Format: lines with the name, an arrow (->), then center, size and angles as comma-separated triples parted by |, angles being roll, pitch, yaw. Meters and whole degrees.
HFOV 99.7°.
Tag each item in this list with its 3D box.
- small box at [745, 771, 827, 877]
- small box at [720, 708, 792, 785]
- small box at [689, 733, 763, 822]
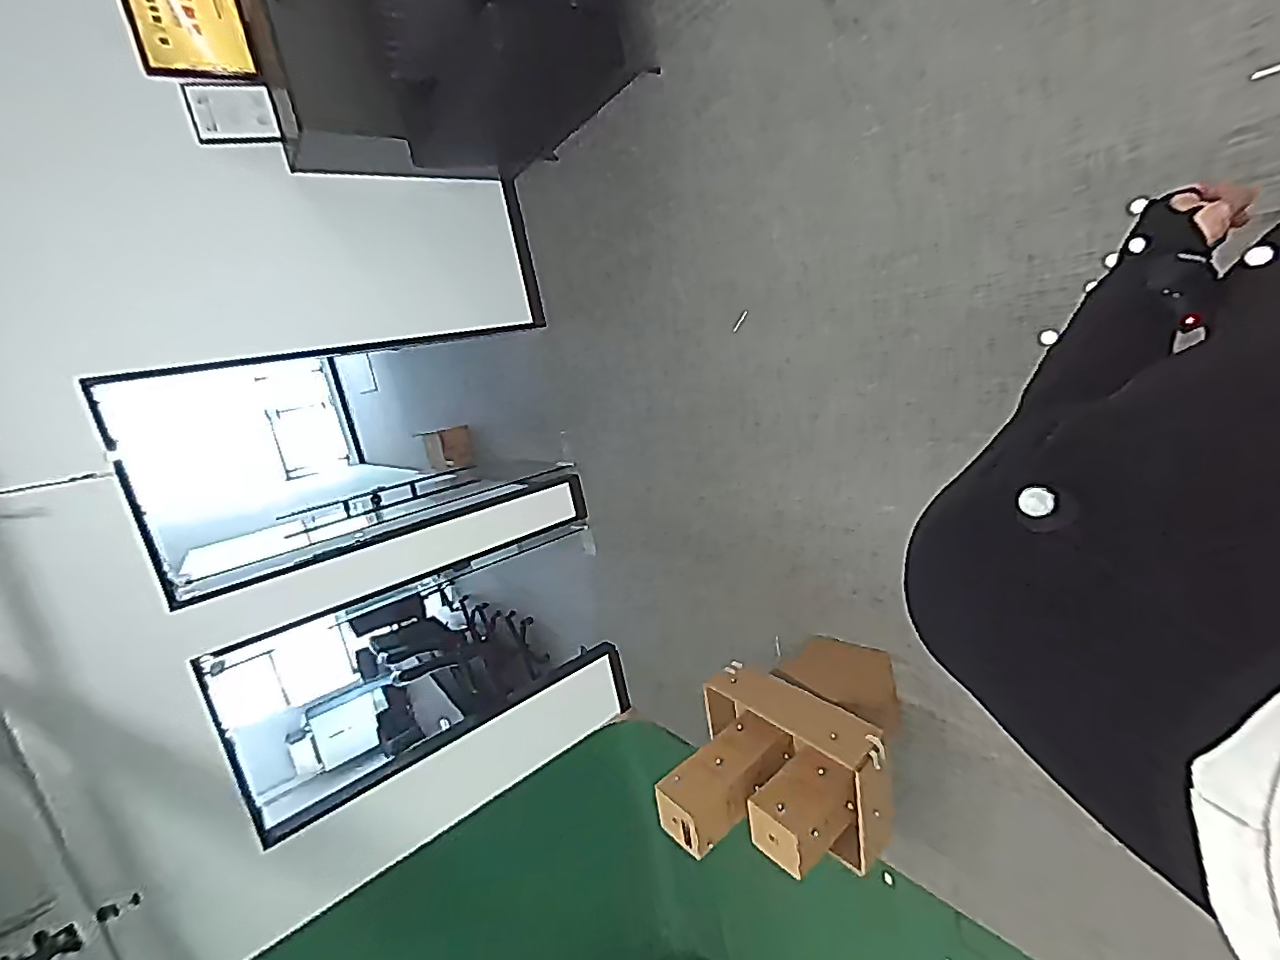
small box -> 0.441, 1.012, 1.612 | 0.179, 0.176, 0.168 | 11, 114, 51
small box -> 0.410, 0.937, 1.904 | 0.179, 0.176, 0.168 | 9, 114, 50
small box -> 0.289, 0.981, 1.807 | 0.179, 0.176, 0.168 | 8, 111, 49
